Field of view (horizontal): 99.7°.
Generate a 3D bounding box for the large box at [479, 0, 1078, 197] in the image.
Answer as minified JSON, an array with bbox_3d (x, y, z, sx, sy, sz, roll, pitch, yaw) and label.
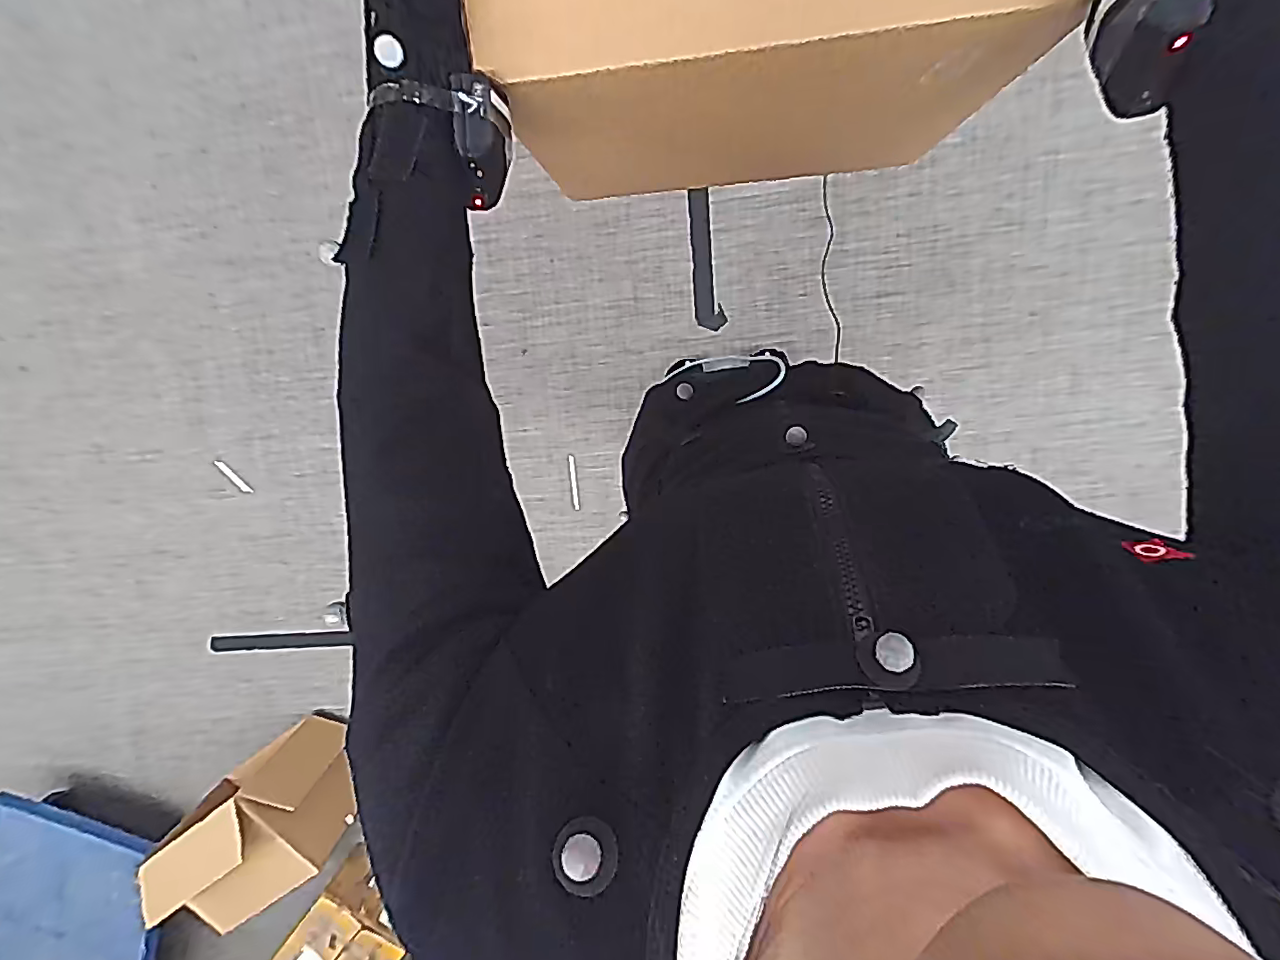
[{"bbox_3d":[0.088,-0.471,0.464,0.408,0.320,0.320,-4,104,5],"label":"large box"}]
